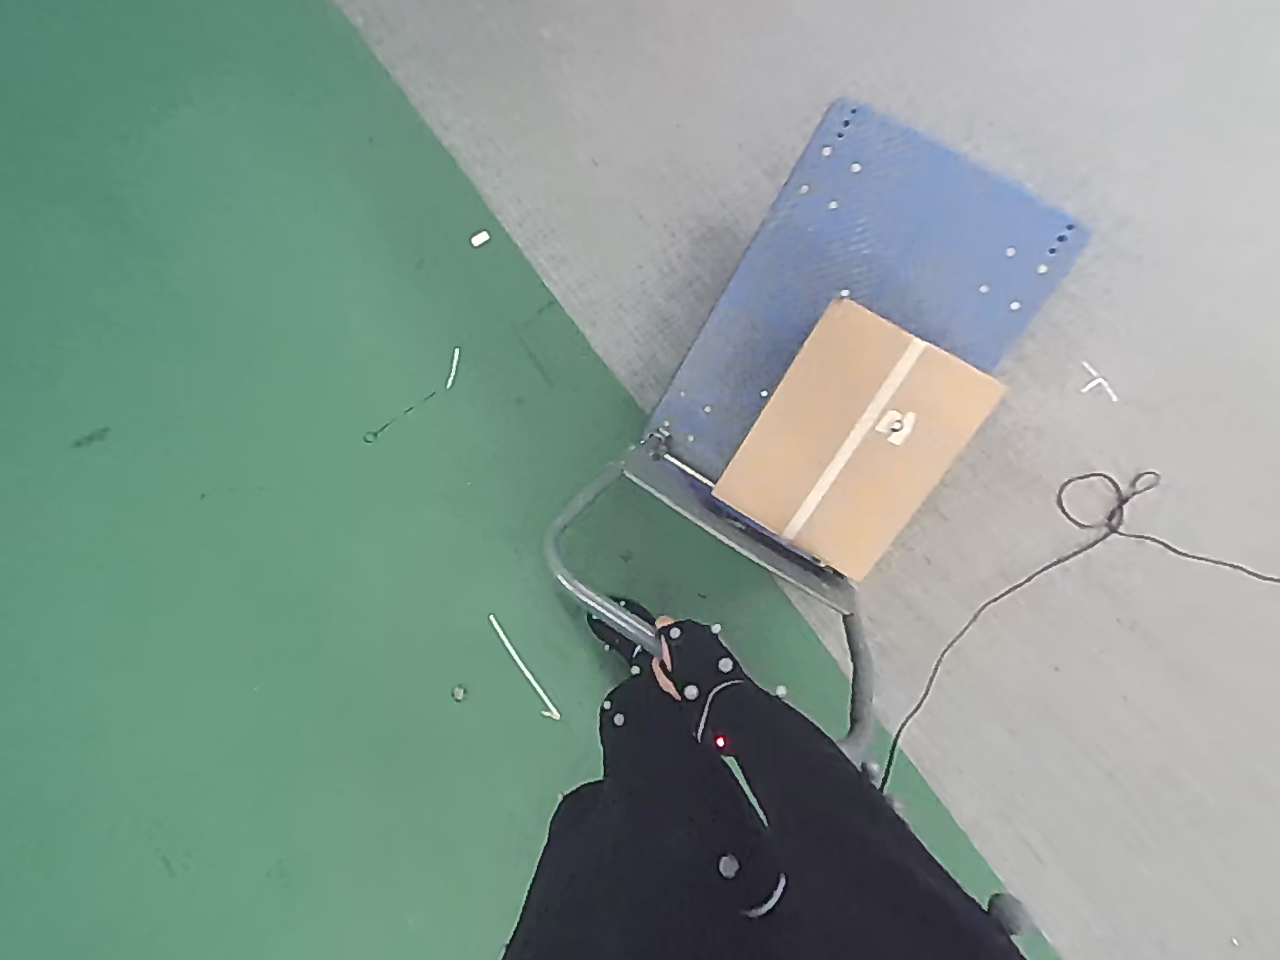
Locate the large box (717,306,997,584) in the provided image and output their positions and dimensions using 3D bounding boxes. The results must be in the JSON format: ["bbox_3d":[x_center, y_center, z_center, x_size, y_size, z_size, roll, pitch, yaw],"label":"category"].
[{"bbox_3d":[0.397,-0.074,1.087,0.320,0.320,0.408,31,105,6],"label":"large box"}]
